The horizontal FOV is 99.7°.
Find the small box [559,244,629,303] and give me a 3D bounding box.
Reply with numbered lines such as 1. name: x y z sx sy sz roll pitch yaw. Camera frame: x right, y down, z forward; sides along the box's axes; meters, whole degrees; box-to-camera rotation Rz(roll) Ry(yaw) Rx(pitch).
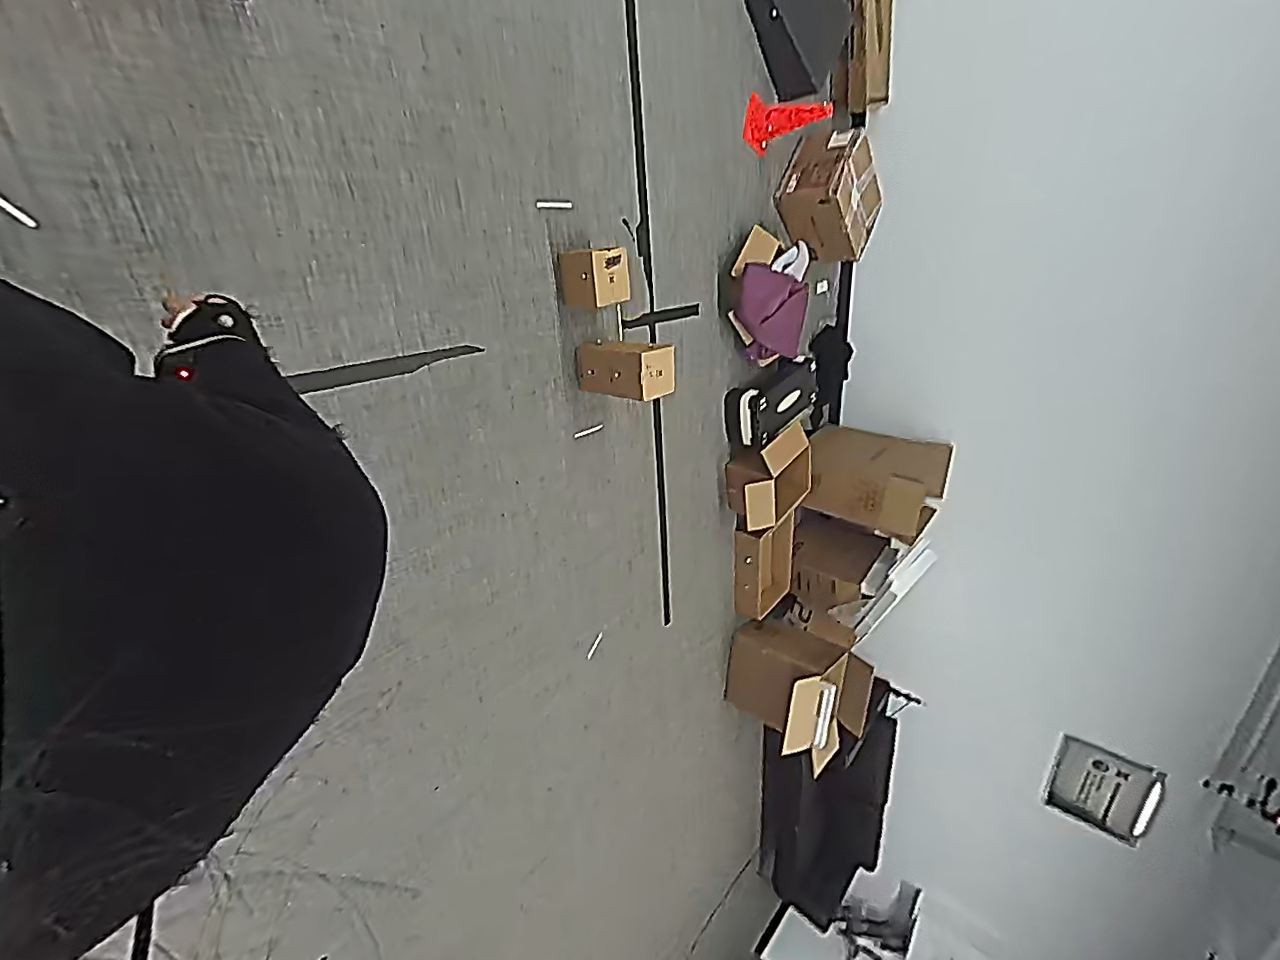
1. small box: -0.161 -0.710 1.861 0.168 0.176 0.179 -29 125 -41

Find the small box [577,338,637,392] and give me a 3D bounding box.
1. small box: -0.119 -0.432 2.016 0.179 0.176 0.168 -27 123 -41

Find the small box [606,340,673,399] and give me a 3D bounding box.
1. small box: 0.000 -0.395 1.906 0.179 0.176 0.168 -25 121 -42
